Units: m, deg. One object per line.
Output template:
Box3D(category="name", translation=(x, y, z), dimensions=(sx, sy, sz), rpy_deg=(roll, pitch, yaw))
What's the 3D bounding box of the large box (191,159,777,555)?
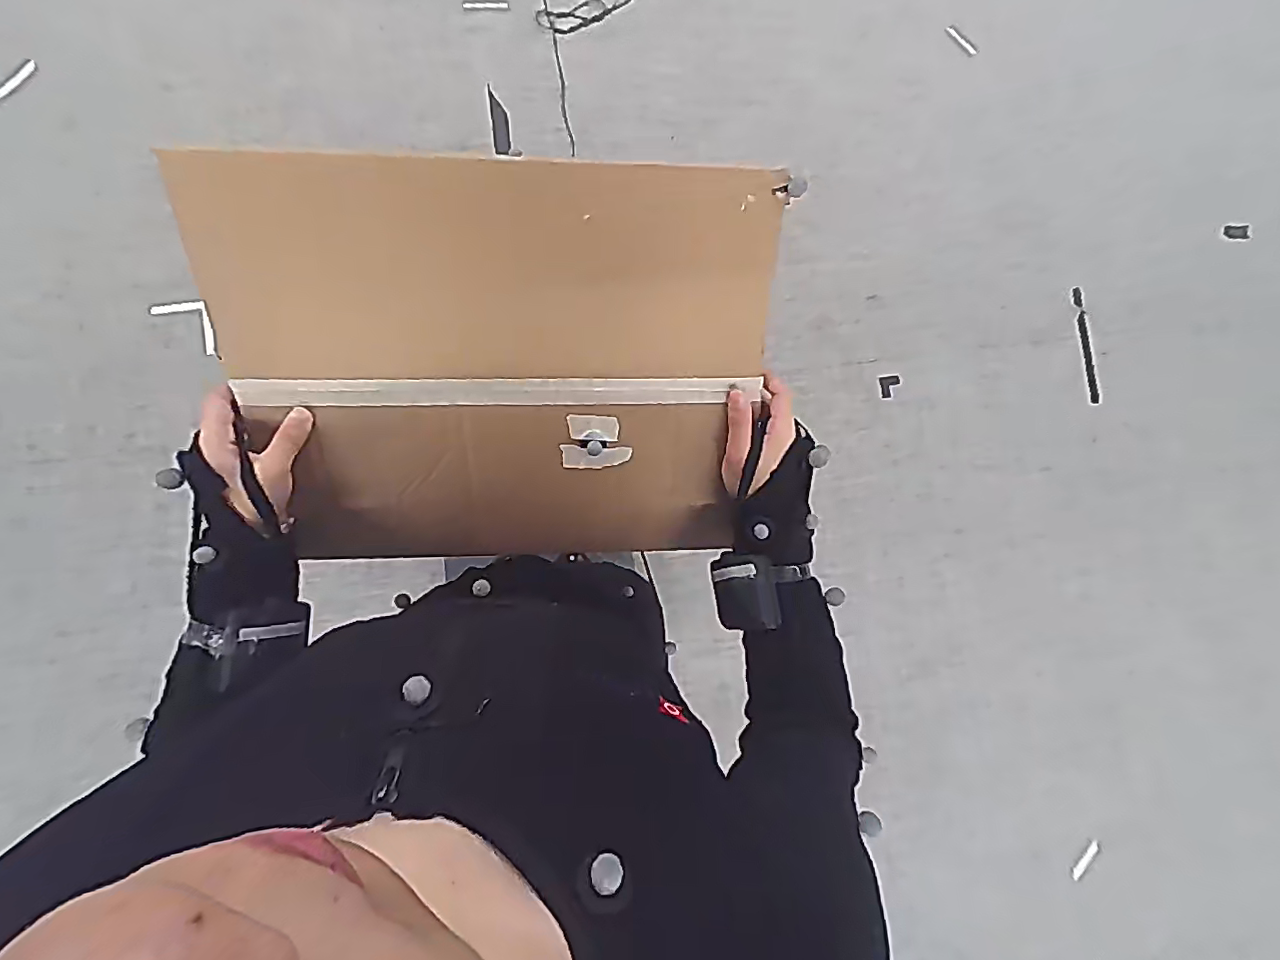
Box3D(category="large box", translation=(-0.116, -0.145, 0.568), dimensions=(0.408, 0.320, 0.320), rpy_deg=(-2, 119, -6))
